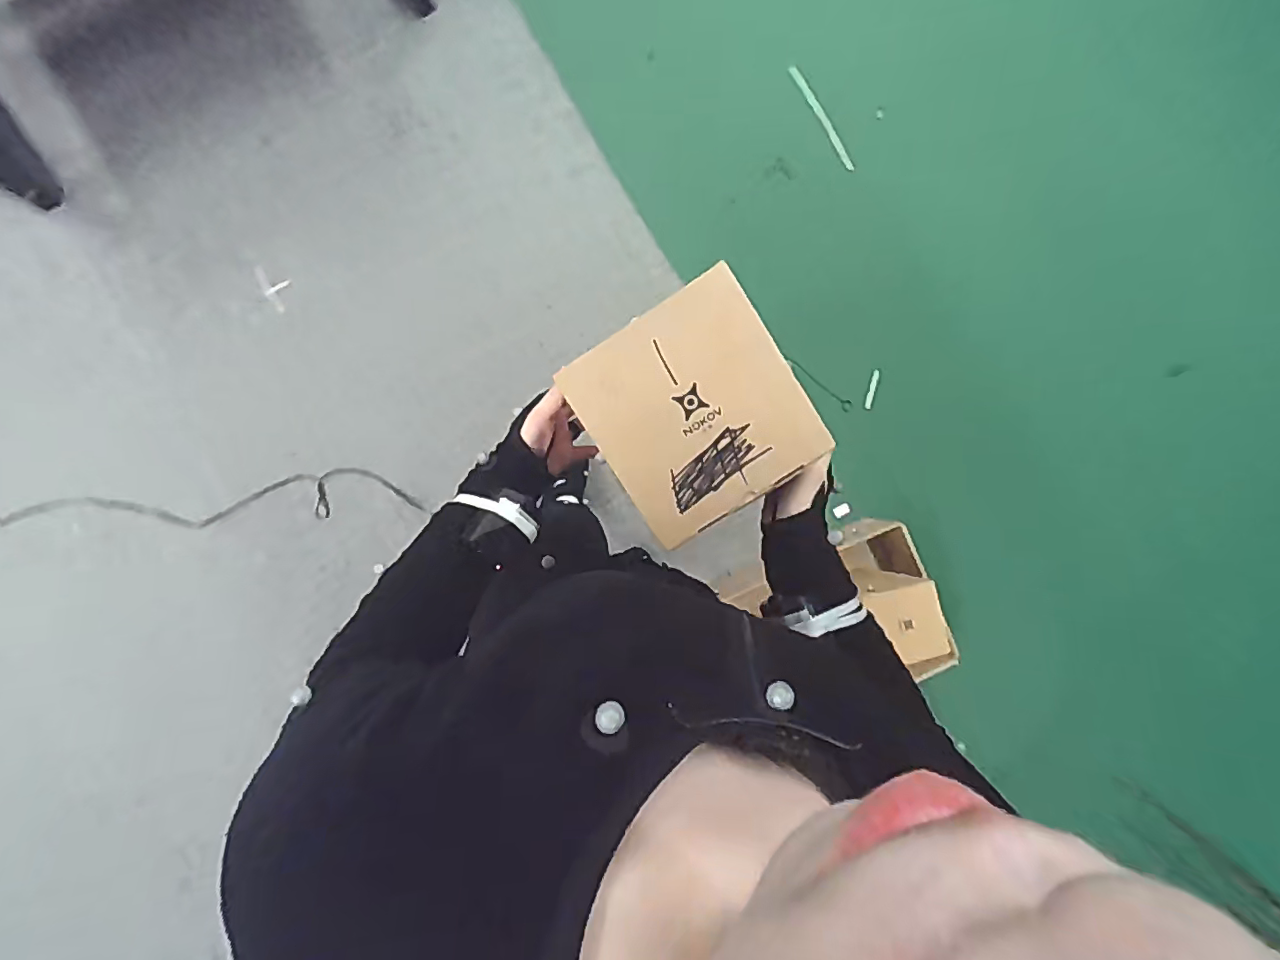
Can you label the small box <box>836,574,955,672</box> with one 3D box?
[{"bbox_3d":[0.585,0.324,1.258,0.179,0.176,0.168,-12,88,-4],"label":"small box"}]
